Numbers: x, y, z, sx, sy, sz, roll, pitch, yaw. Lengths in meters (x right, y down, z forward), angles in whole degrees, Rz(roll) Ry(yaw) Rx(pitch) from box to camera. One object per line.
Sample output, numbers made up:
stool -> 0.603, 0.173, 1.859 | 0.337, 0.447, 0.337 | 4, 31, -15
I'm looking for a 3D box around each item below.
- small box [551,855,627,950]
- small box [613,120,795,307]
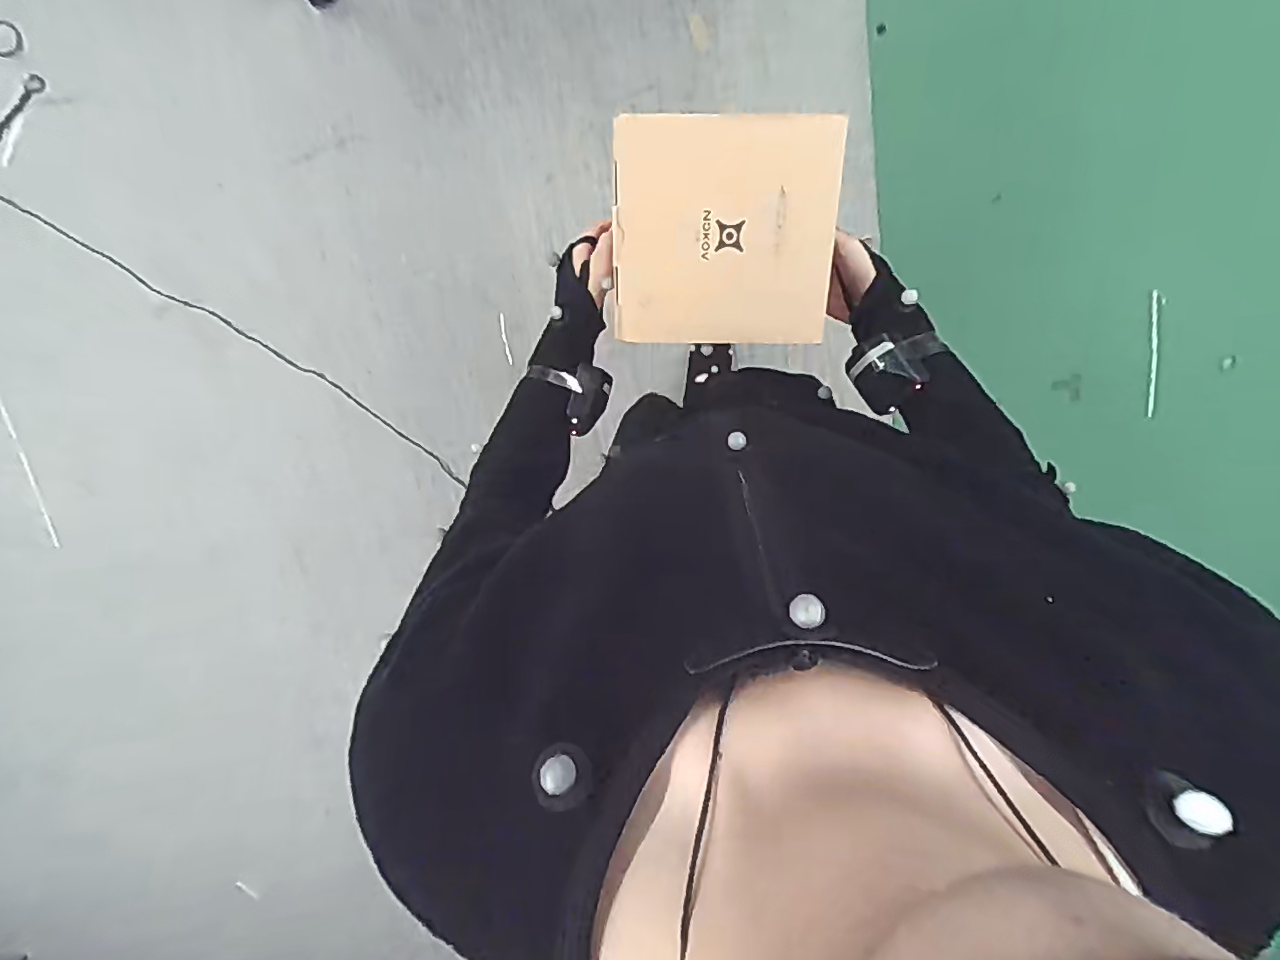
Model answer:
small box -> -0.136, 1.180, 1.501 | 0.168, 0.176, 0.179 | -10, 100, 6
small box -> 0.062, -0.300, 0.636 | 0.179, 0.176, 0.168 | 4, 110, -1
